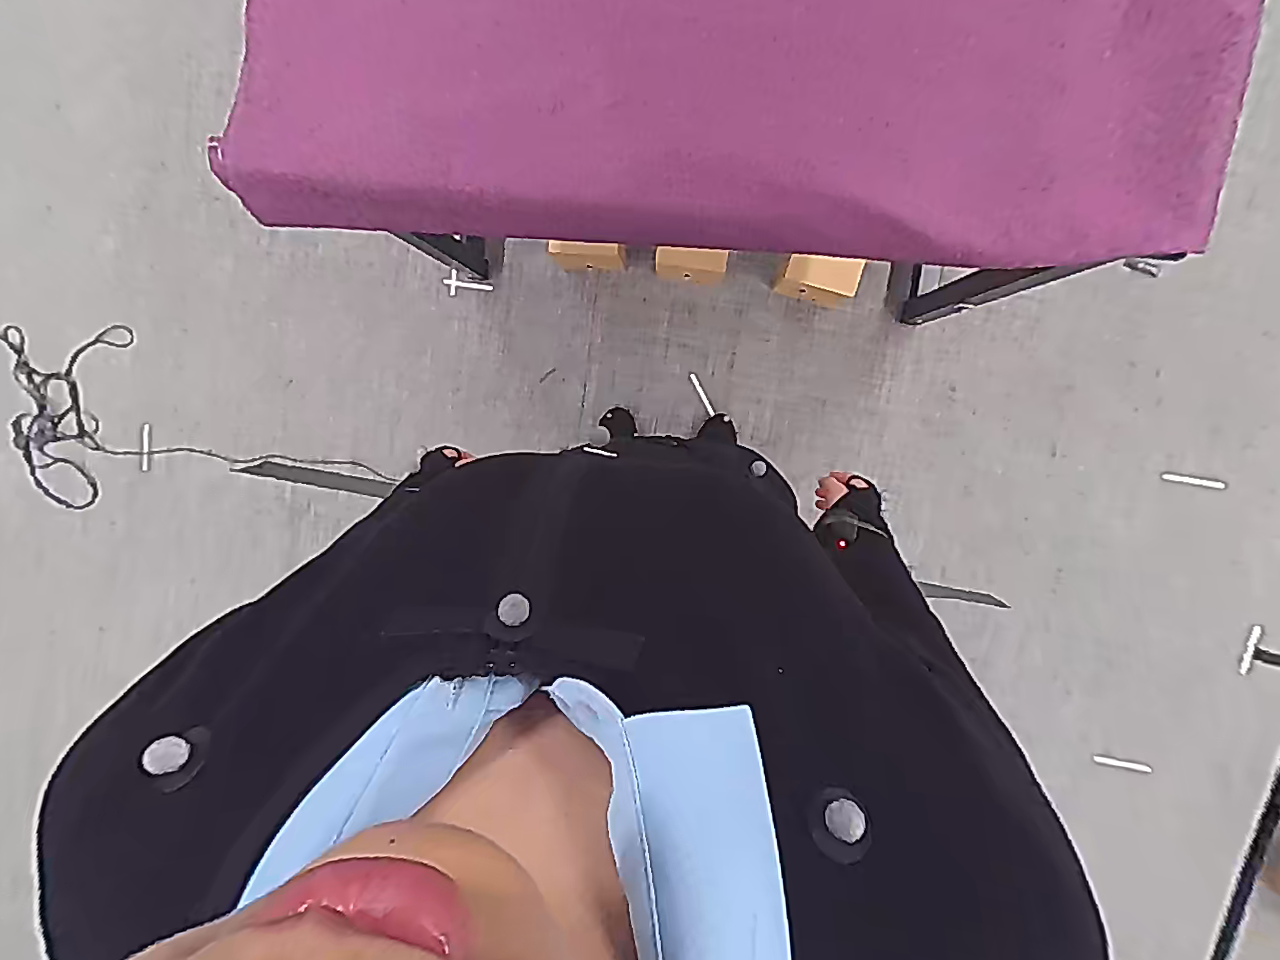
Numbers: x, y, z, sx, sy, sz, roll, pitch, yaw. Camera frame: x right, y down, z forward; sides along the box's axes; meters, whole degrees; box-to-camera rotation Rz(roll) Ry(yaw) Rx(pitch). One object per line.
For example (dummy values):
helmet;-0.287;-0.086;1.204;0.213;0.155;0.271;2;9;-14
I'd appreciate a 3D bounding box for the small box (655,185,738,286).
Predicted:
small box;0.135;-0.586;1.319;0.168;0.176;0.179;10;98;2

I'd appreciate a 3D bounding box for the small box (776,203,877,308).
small box;0.439;-0.531;1.307;0.168;0.176;0.179;17;98;2
